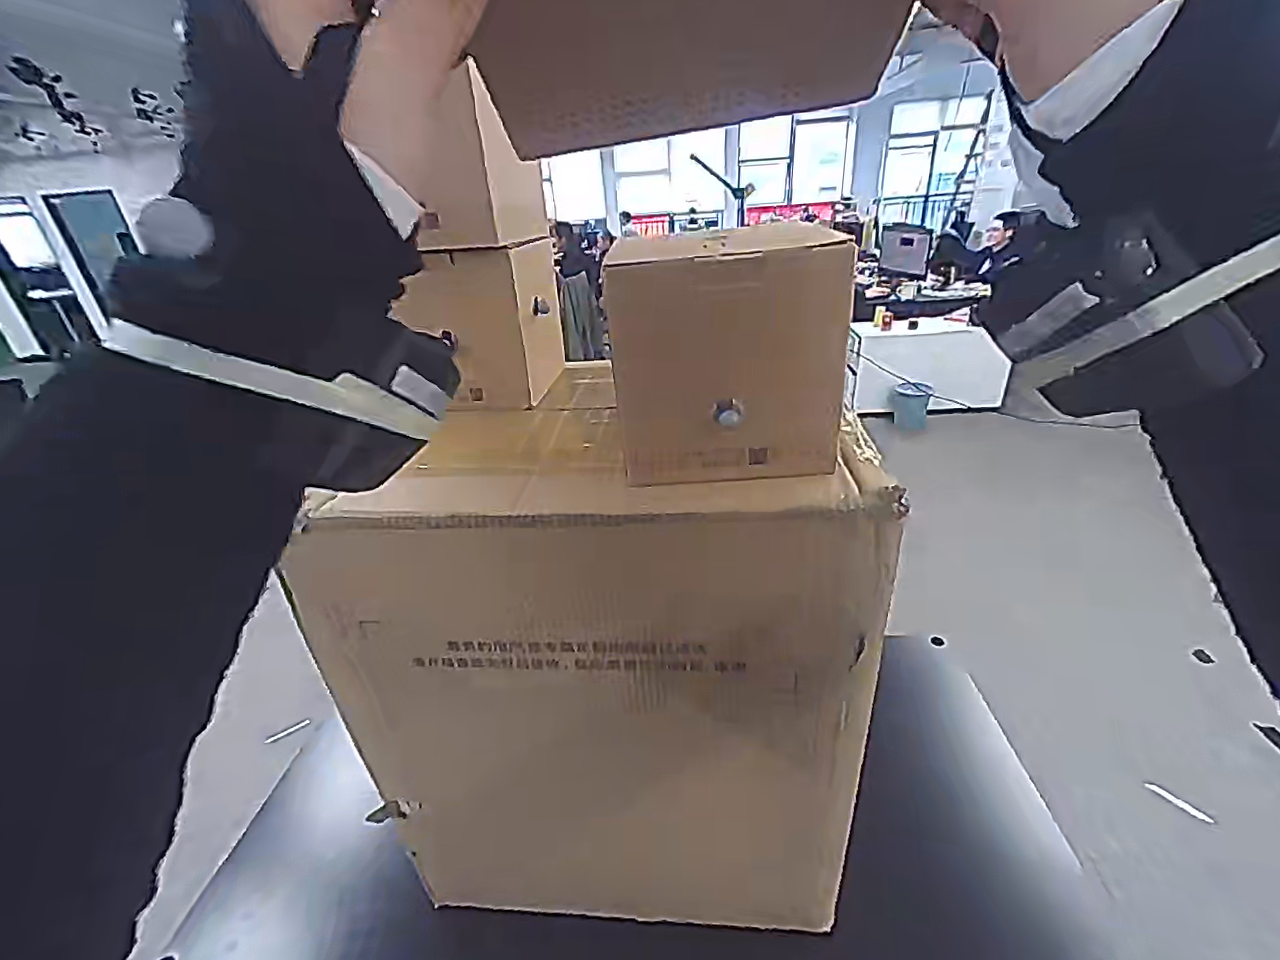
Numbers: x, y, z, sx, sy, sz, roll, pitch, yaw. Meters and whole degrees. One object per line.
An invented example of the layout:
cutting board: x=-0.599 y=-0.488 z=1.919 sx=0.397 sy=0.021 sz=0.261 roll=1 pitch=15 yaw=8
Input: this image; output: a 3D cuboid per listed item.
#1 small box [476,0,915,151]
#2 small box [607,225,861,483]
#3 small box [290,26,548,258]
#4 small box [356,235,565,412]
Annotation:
small box: x=0.015 y=-0.253 z=0.191 sx=0.179 sy=0.168 sz=0.176 roll=-8 pitch=-6 yaw=3
small box: x=0.070 y=-0.111 z=0.457 sx=0.168 sy=0.176 sz=0.179 roll=-4 pitch=29 yaw=5
small box: x=-0.197 y=-0.322 z=0.545 sx=0.168 sy=0.176 sz=0.179 roll=-1 pitch=28 yaw=8
small box: x=-0.189 y=-0.184 z=0.635 sx=0.168 sy=0.176 sz=0.179 roll=0 pitch=28 yaw=5
